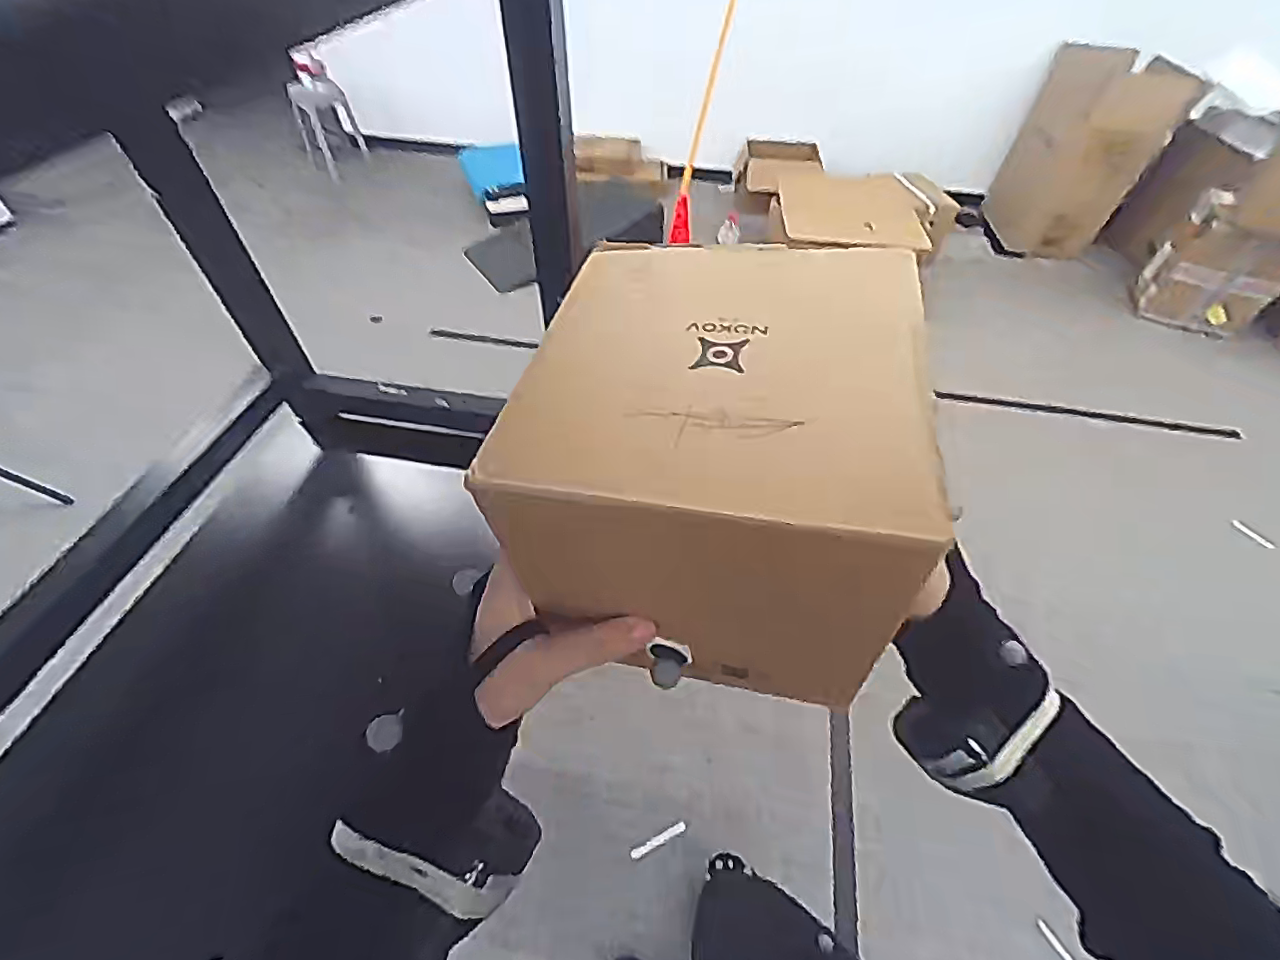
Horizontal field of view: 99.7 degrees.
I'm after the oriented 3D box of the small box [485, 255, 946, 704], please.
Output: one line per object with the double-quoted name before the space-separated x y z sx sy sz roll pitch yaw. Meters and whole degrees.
"small box" 0.046 -0.001 0.298 0.168 0.176 0.179 5 53 14
